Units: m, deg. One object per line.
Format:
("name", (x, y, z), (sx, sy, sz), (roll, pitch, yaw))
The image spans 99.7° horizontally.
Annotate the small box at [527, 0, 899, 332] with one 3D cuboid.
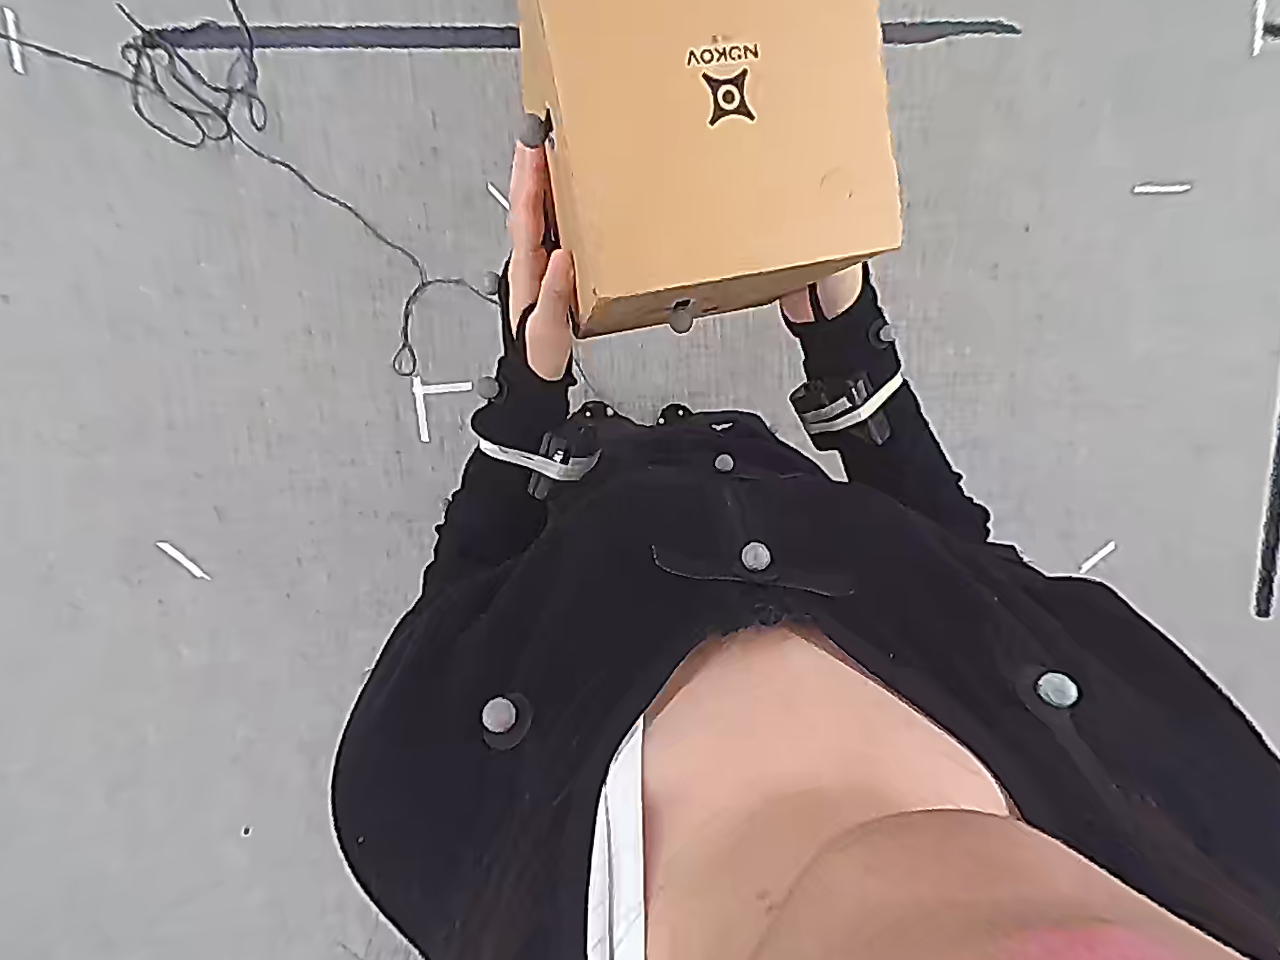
("small box", (0.030, -0.198, 0.341), (0.168, 0.176, 0.179), (-13, 99, -8))
